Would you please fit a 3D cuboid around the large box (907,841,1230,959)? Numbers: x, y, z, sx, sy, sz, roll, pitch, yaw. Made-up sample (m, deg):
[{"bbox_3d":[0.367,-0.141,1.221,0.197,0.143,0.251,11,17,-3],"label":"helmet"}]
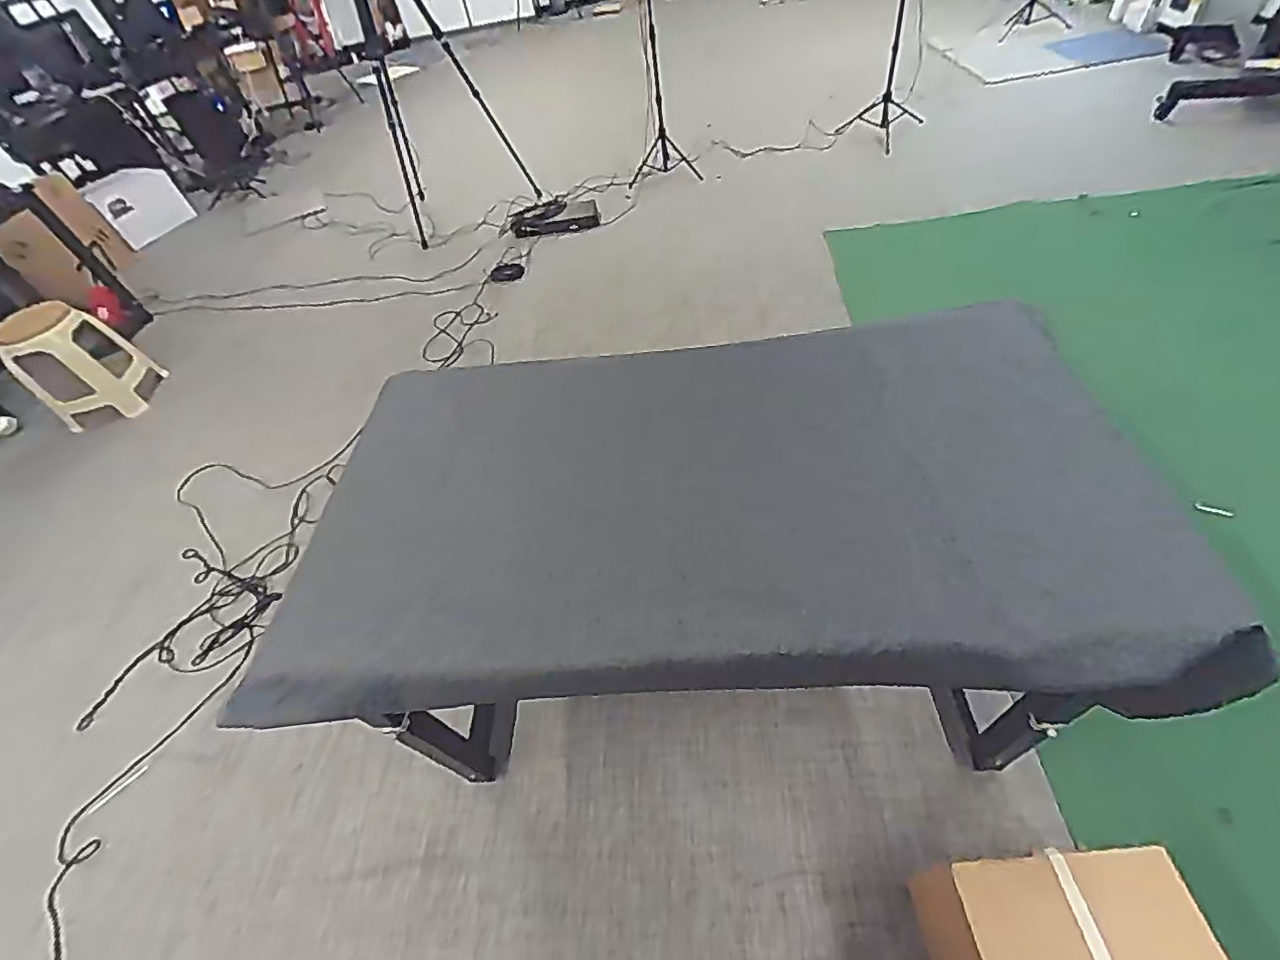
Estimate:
[{"bbox_3d":[0.656,0.801,0.800,0.320,0.320,0.408,-8,50,5],"label":"large box"}]
